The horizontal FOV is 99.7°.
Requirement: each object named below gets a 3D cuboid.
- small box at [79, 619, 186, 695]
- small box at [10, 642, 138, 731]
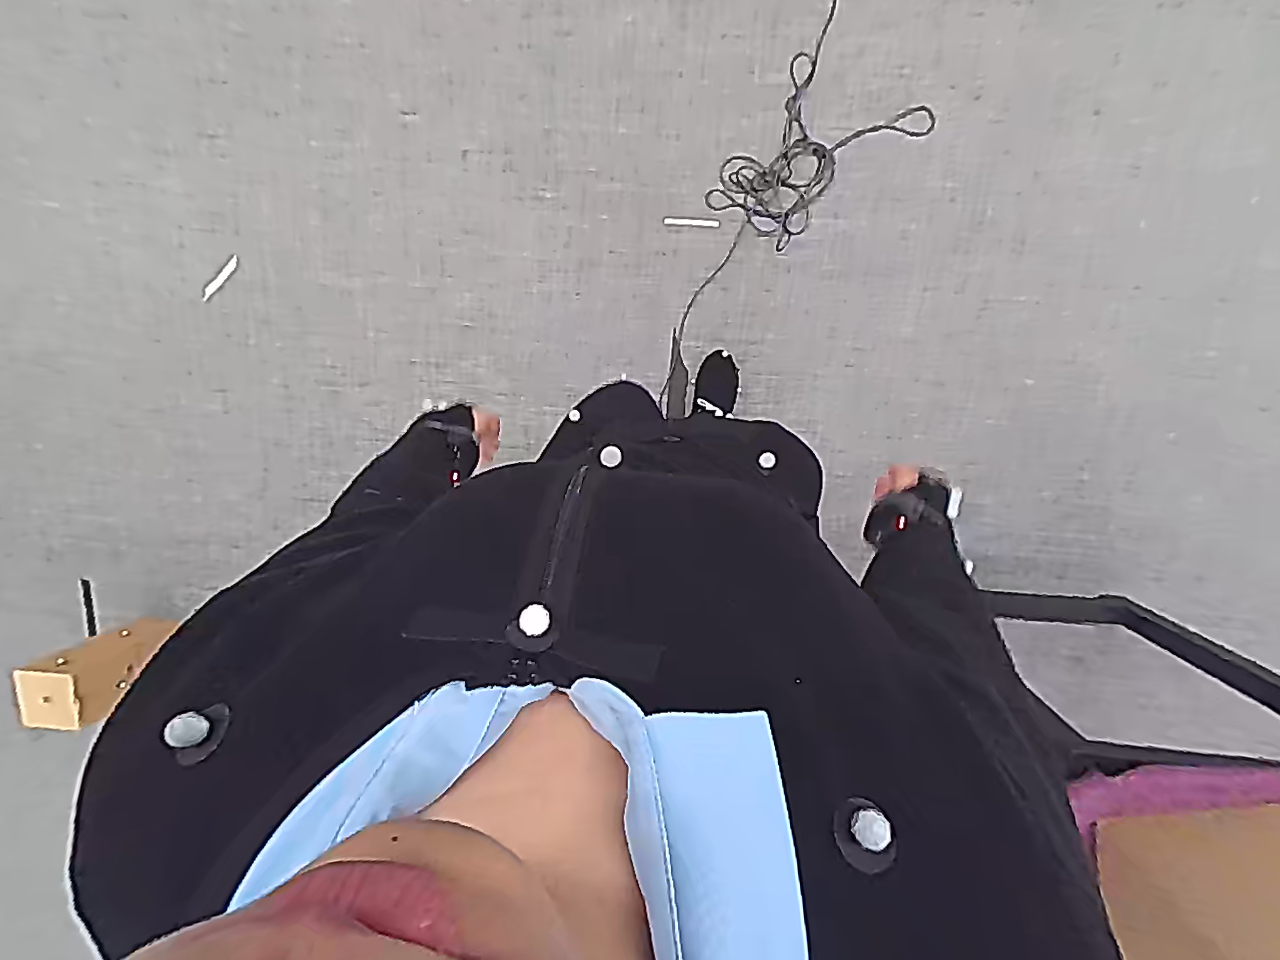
[{"bbox_3d":[-1.540,0.537,1.657,0.179,0.176,0.168,1,100,7],"label":"small box"},{"bbox_3d":[-1.559,0.564,1.498,0.179,0.176,0.168,2,100,5],"label":"small box"}]
